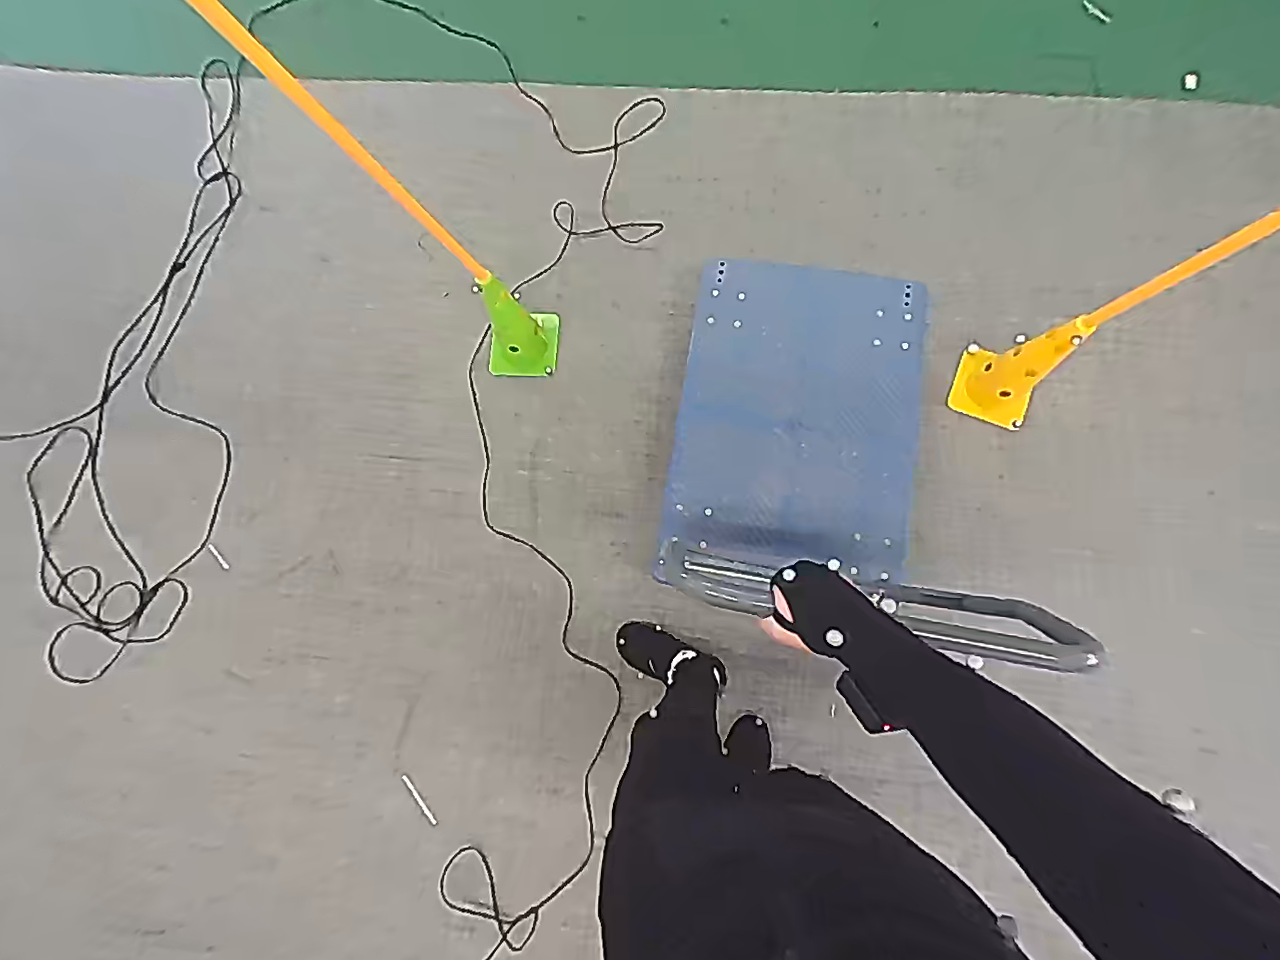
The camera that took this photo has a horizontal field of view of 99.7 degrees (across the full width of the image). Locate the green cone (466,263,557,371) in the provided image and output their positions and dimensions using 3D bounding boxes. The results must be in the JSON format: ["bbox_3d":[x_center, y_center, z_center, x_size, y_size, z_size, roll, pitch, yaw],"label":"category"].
[{"bbox_3d":[-0.365,-0.454,1.430,0.202,0.368,0.200,1,77,6],"label":"green cone"}]
